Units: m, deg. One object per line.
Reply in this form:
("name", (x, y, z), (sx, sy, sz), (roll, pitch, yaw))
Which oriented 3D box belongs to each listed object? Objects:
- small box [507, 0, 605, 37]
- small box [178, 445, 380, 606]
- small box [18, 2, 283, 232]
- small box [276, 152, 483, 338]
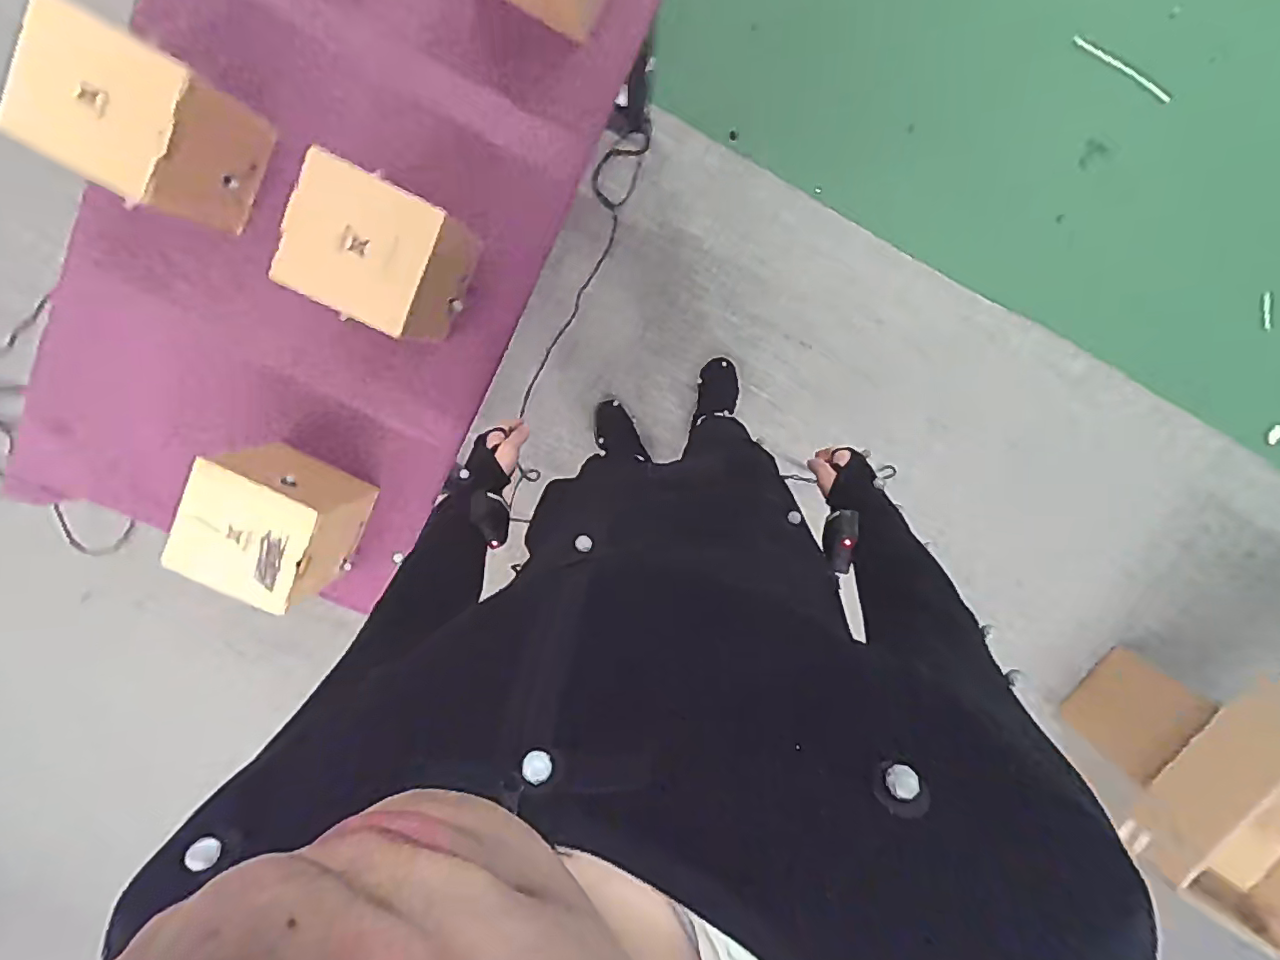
("small box", (-0.119, -0.707, 0.666), (0.179, 0.176, 0.168), (27, 102, -5))
("small box", (-0.536, 0.057, 0.828), (0.179, 0.176, 0.168), (26, 100, -3))
("small box", (-0.635, -0.460, 0.723), (0.179, 0.176, 0.168), (27, 100, -7))
("small box", (-0.348, -0.307, 0.754), (0.179, 0.176, 0.168), (26, 102, -4))
